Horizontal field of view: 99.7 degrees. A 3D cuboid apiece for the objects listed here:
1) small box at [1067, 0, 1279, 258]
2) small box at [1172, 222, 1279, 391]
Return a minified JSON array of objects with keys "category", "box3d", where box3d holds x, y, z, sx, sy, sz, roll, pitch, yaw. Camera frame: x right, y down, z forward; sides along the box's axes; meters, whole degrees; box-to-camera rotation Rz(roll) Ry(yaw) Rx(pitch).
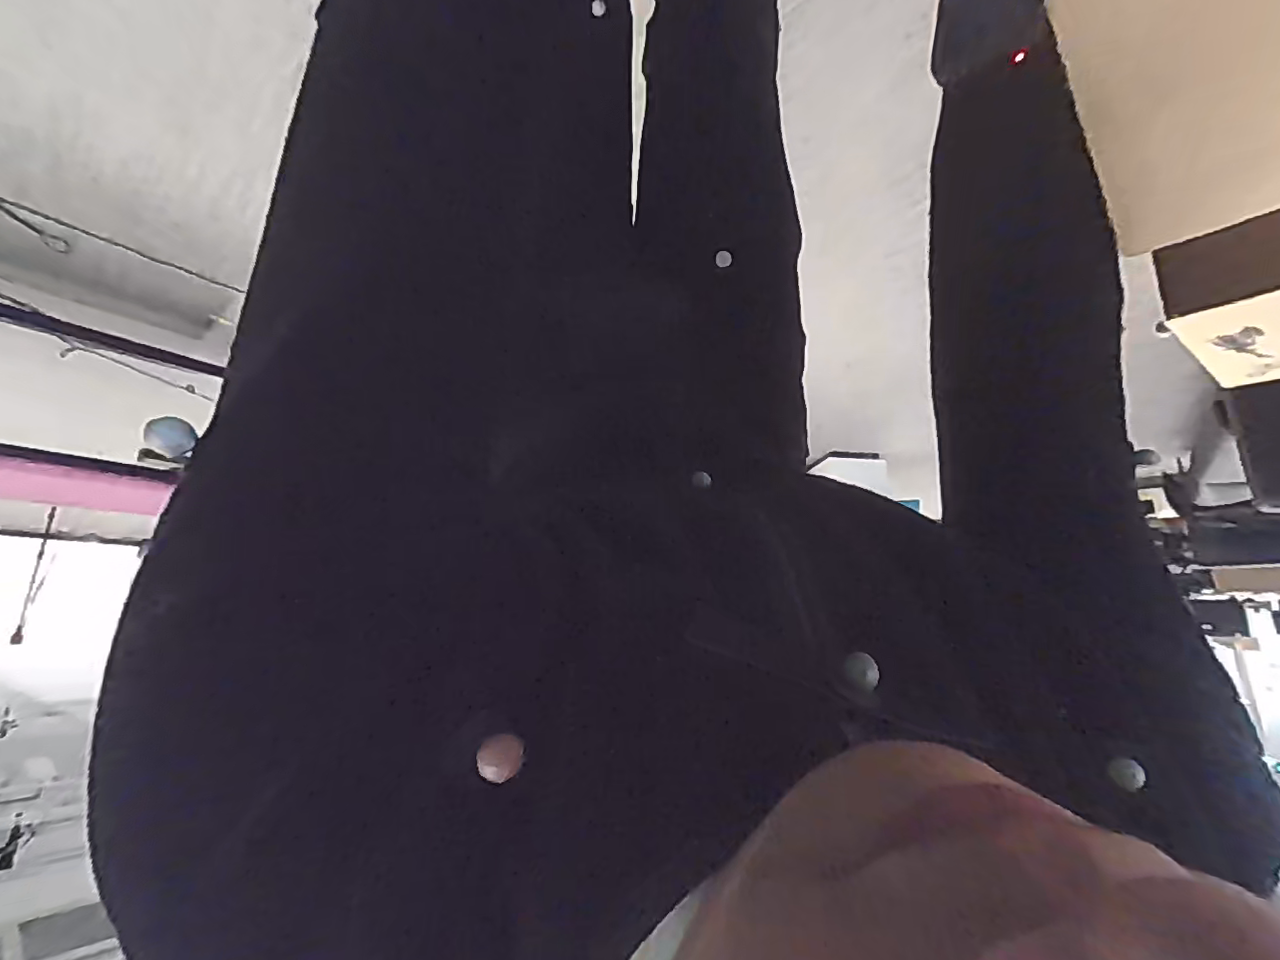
[{"category":"small box","box3d":[0.215,-0.199,0.133,0.168,0.176,0.179,14,161,-42]},{"category":"small box","box3d":[0.433,-0.173,0.310,0.168,0.176,0.179,11,163,-33]}]
